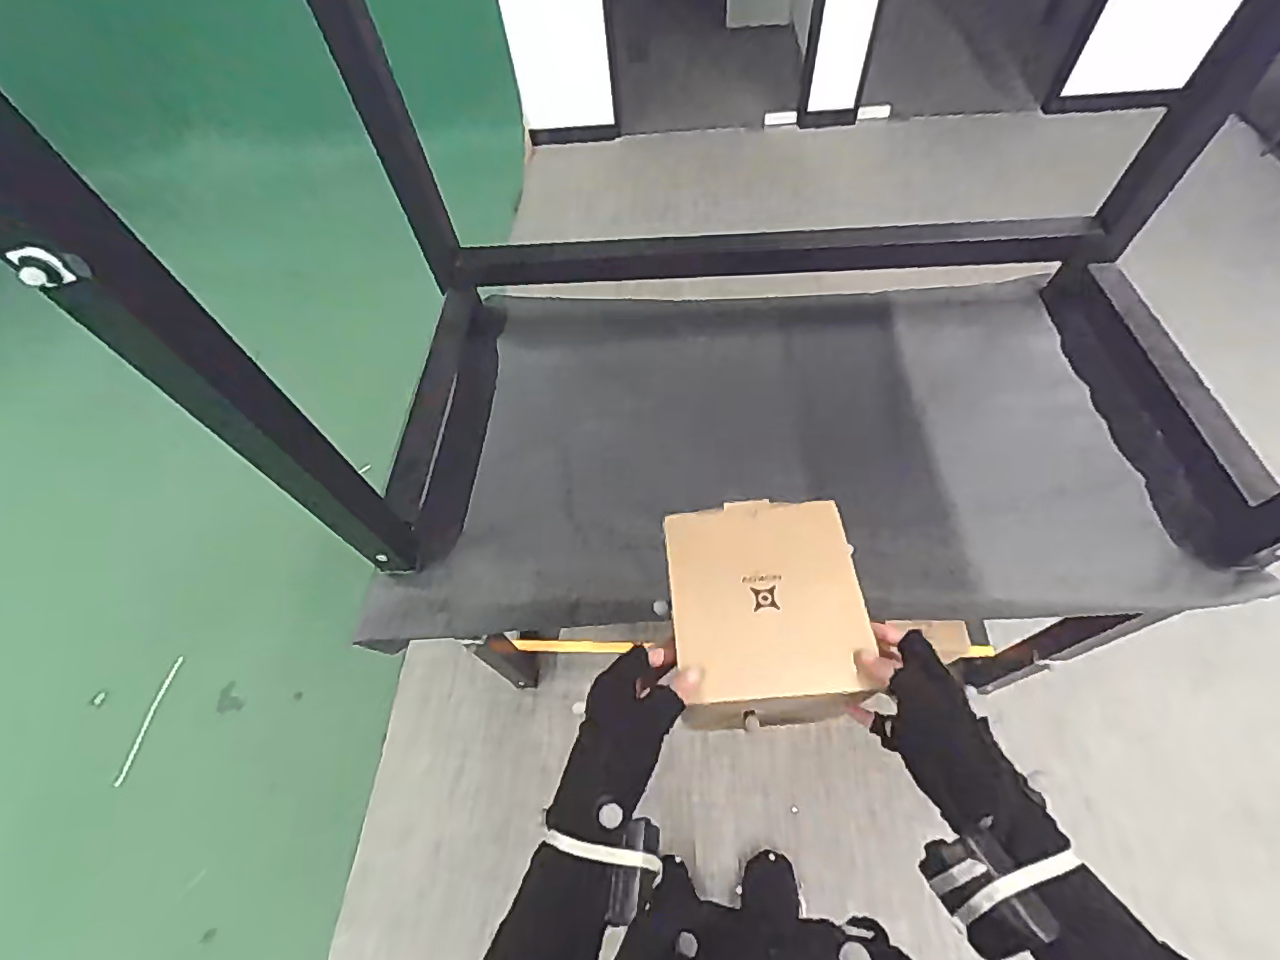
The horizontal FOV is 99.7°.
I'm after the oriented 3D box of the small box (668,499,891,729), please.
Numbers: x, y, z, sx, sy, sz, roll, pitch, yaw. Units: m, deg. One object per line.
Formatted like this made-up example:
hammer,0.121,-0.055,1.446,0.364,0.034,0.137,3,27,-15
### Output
small box,0.120,0.141,0.535,0.168,0.176,0.179,-5,56,3
